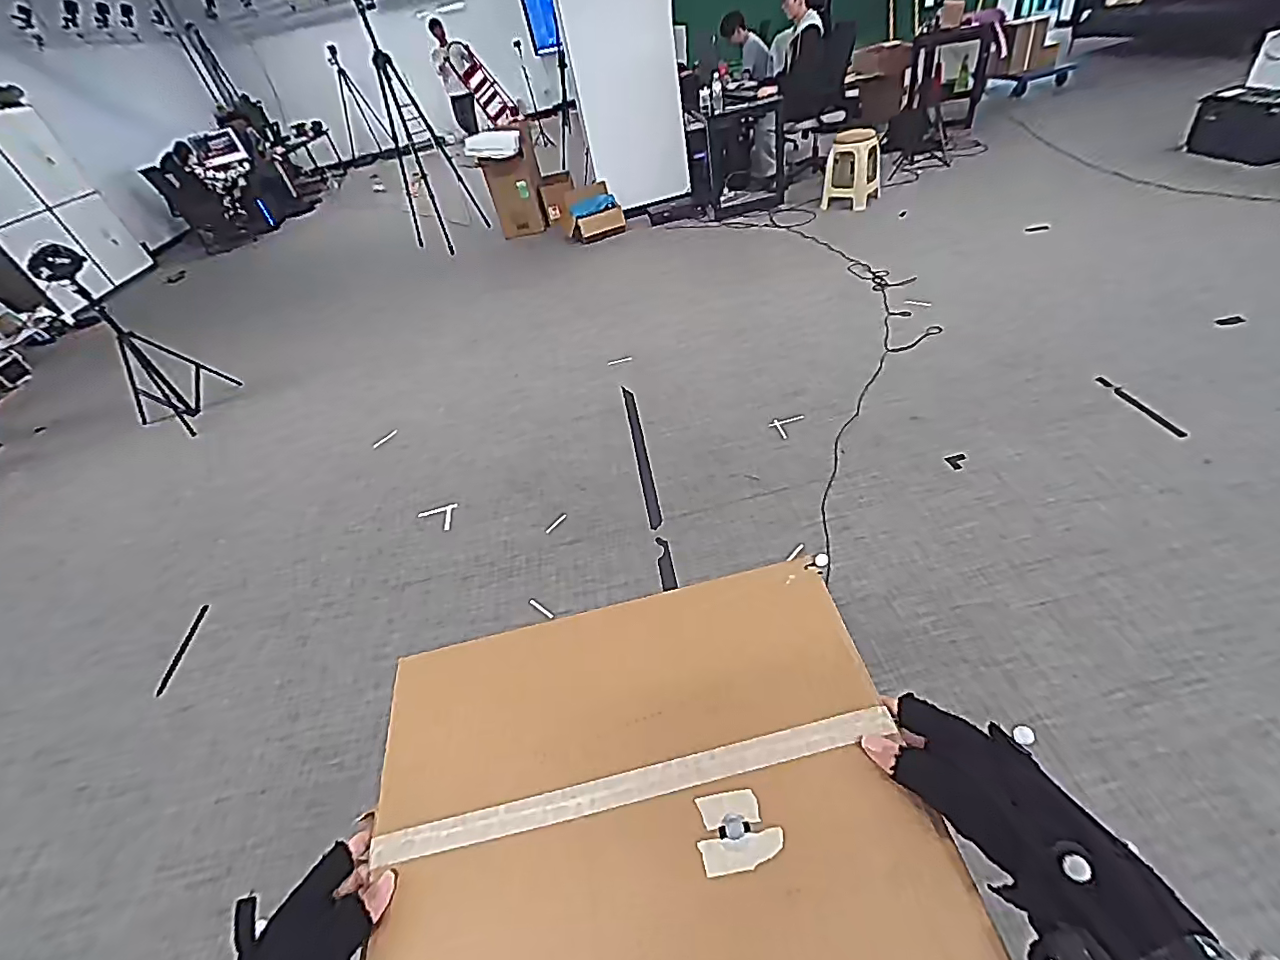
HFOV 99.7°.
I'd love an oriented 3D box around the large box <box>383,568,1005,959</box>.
[{"bbox_3d":[0.024,0.341,0.528,0.408,0.320,0.320,-14,47,-1],"label":"large box"}]
